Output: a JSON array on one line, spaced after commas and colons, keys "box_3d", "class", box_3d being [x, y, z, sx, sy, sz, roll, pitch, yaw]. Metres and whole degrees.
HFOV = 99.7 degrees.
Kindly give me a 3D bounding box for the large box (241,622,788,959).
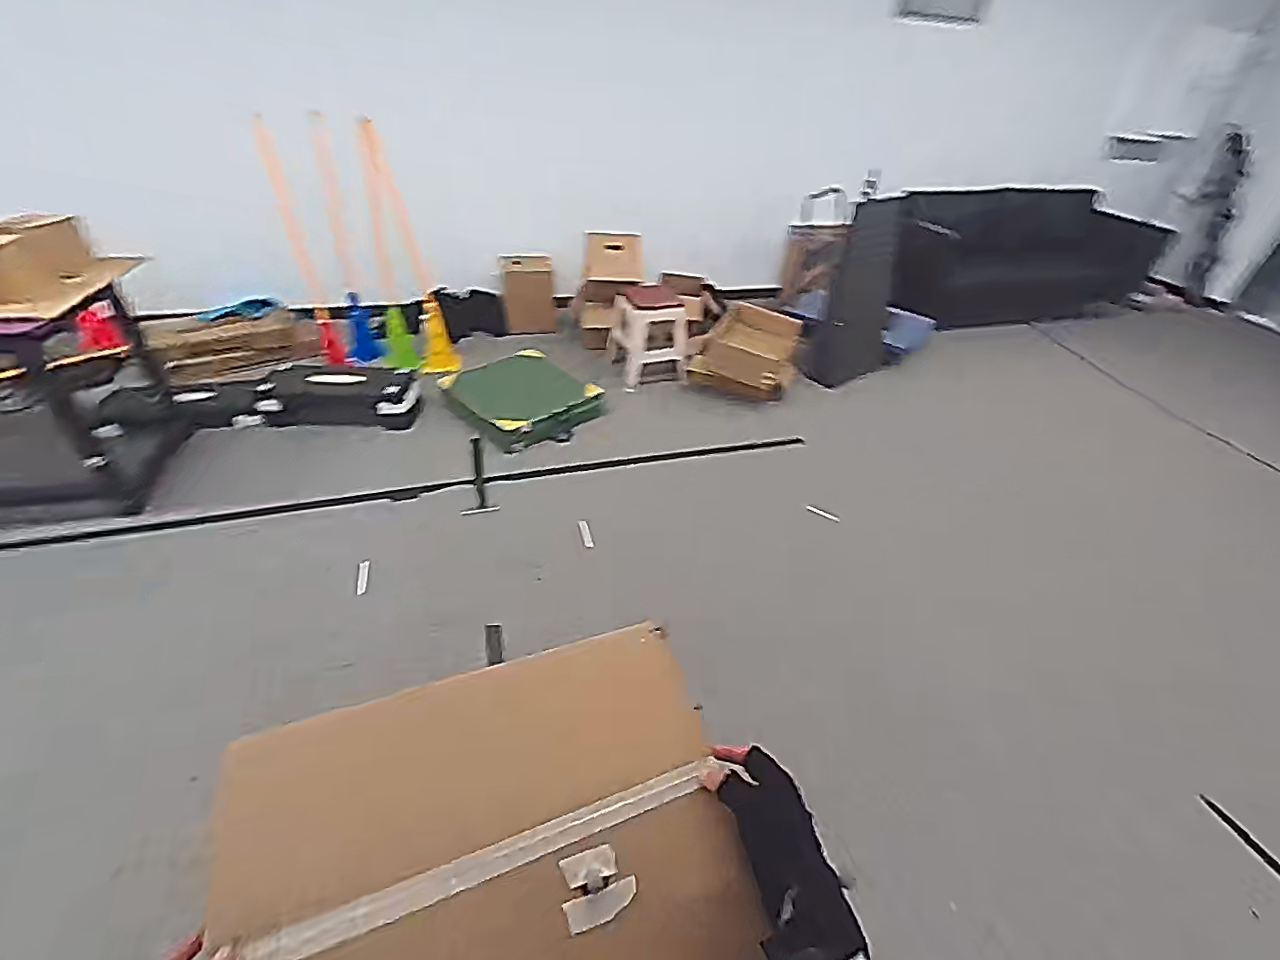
[{"box_3d": [-0.134, 0.404, 0.573, 0.408, 0.320, 0.320, -10, 54, -20], "class": "large box"}]
